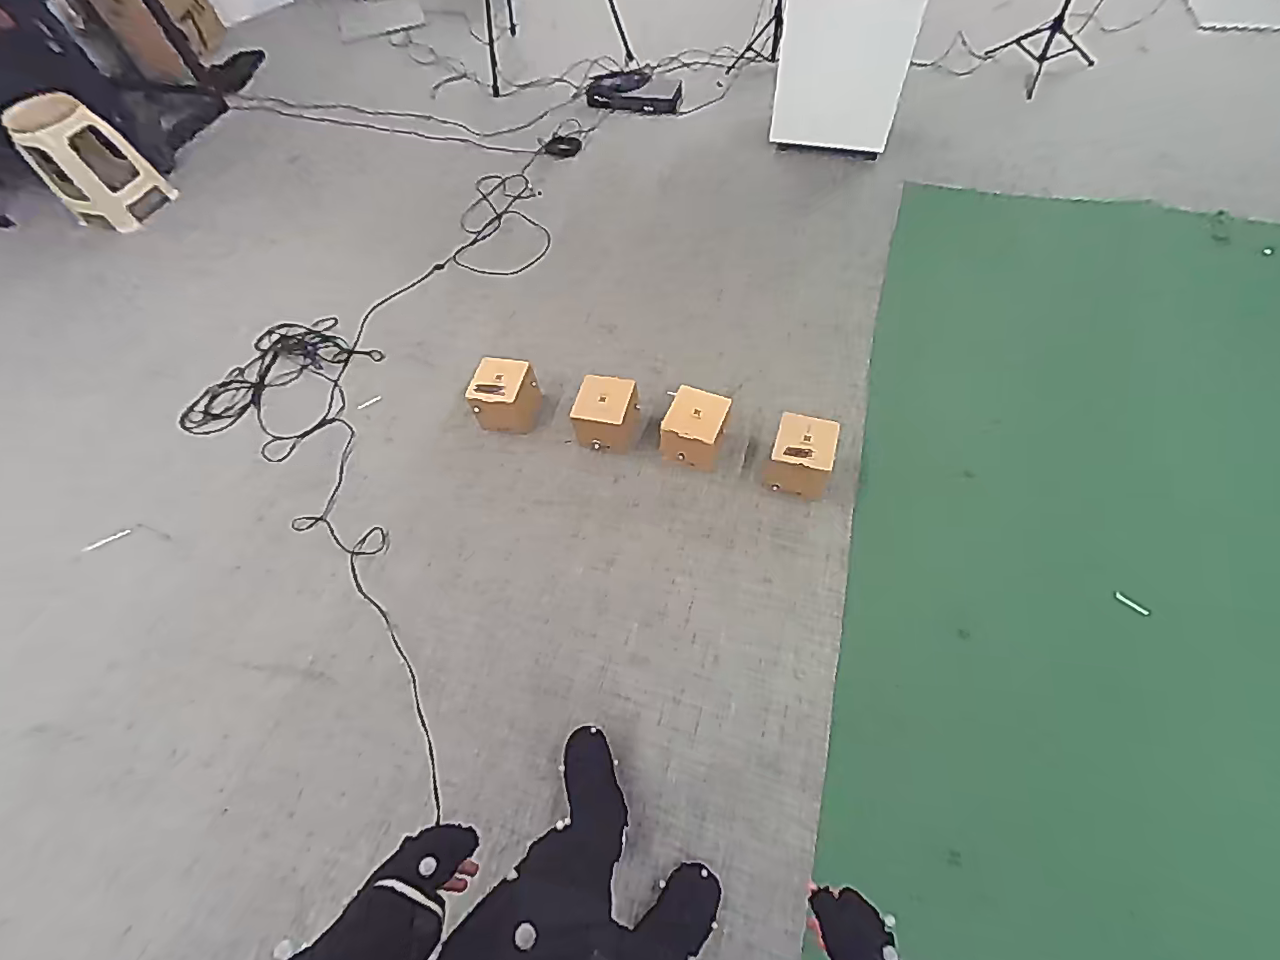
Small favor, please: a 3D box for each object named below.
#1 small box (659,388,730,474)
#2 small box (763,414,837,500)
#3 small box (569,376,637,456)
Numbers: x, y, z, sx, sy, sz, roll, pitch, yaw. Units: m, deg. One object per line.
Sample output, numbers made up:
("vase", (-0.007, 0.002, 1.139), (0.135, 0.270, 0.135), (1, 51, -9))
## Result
("small box", (0.166, -0.149, 1.663), (0.168, 0.176, 0.179), (19, 63, 15))
("small box", (0.464, -0.063, 1.588), (0.168, 0.176, 0.179), (14, 61, 12))
("small box", (-0.110, -0.201, 1.715), (0.168, 0.176, 0.179), (9, 62, 12))
